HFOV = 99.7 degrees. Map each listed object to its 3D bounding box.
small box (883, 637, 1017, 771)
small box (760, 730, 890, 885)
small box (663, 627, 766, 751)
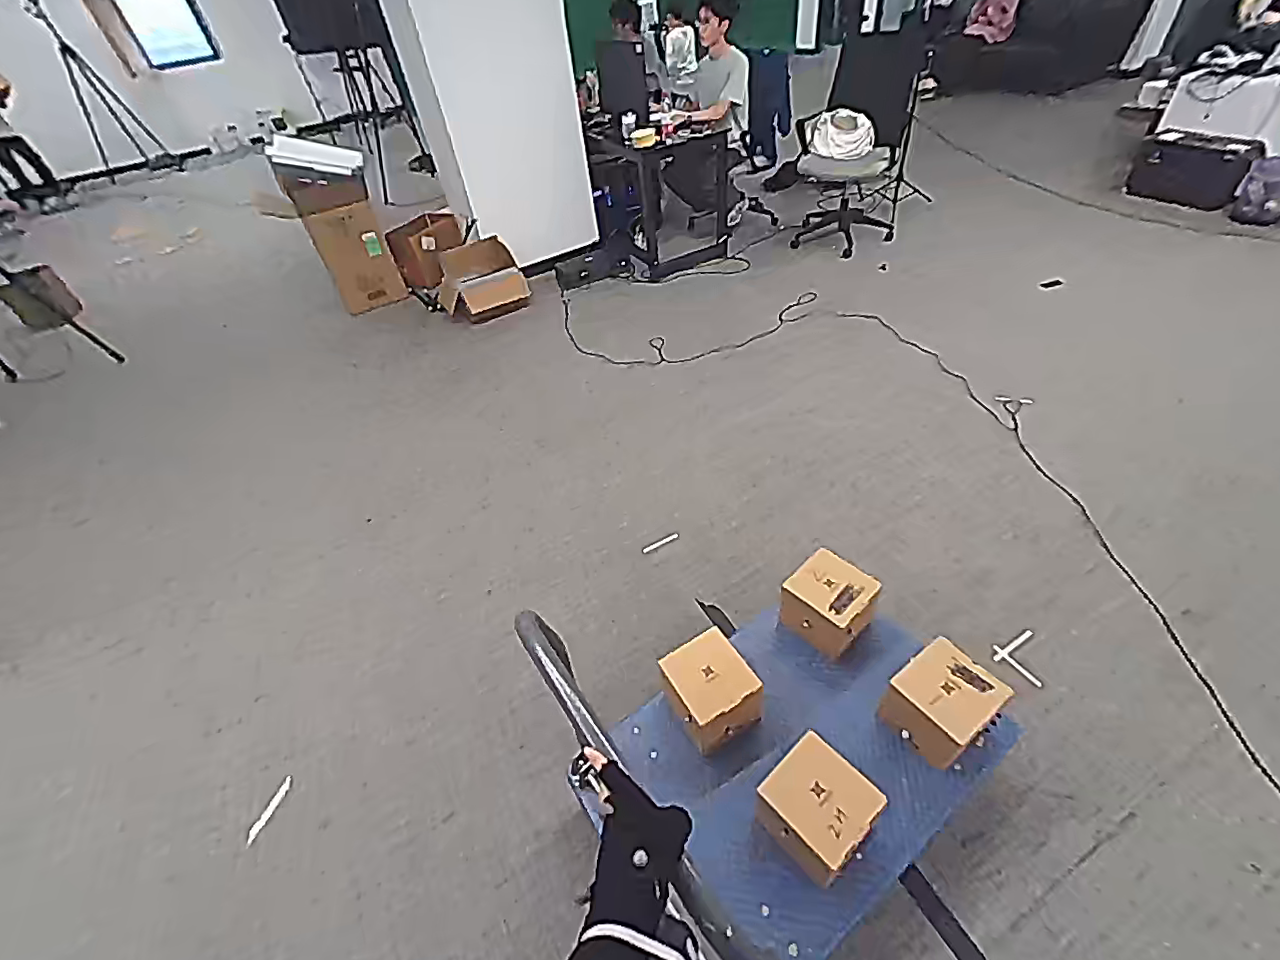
[{"bbox_3d":[0.652,0.481,1.161,0.179,0.176,0.168,-31,48,-19],"label":"small box"},{"bbox_3d":[0.348,0.638,1.052,0.168,0.176,0.179,-34,49,-23],"label":"small box"},{"bbox_3d":[0.168,0.482,1.246,0.168,0.176,0.179,-27,48,-17],"label":"small box"}]
